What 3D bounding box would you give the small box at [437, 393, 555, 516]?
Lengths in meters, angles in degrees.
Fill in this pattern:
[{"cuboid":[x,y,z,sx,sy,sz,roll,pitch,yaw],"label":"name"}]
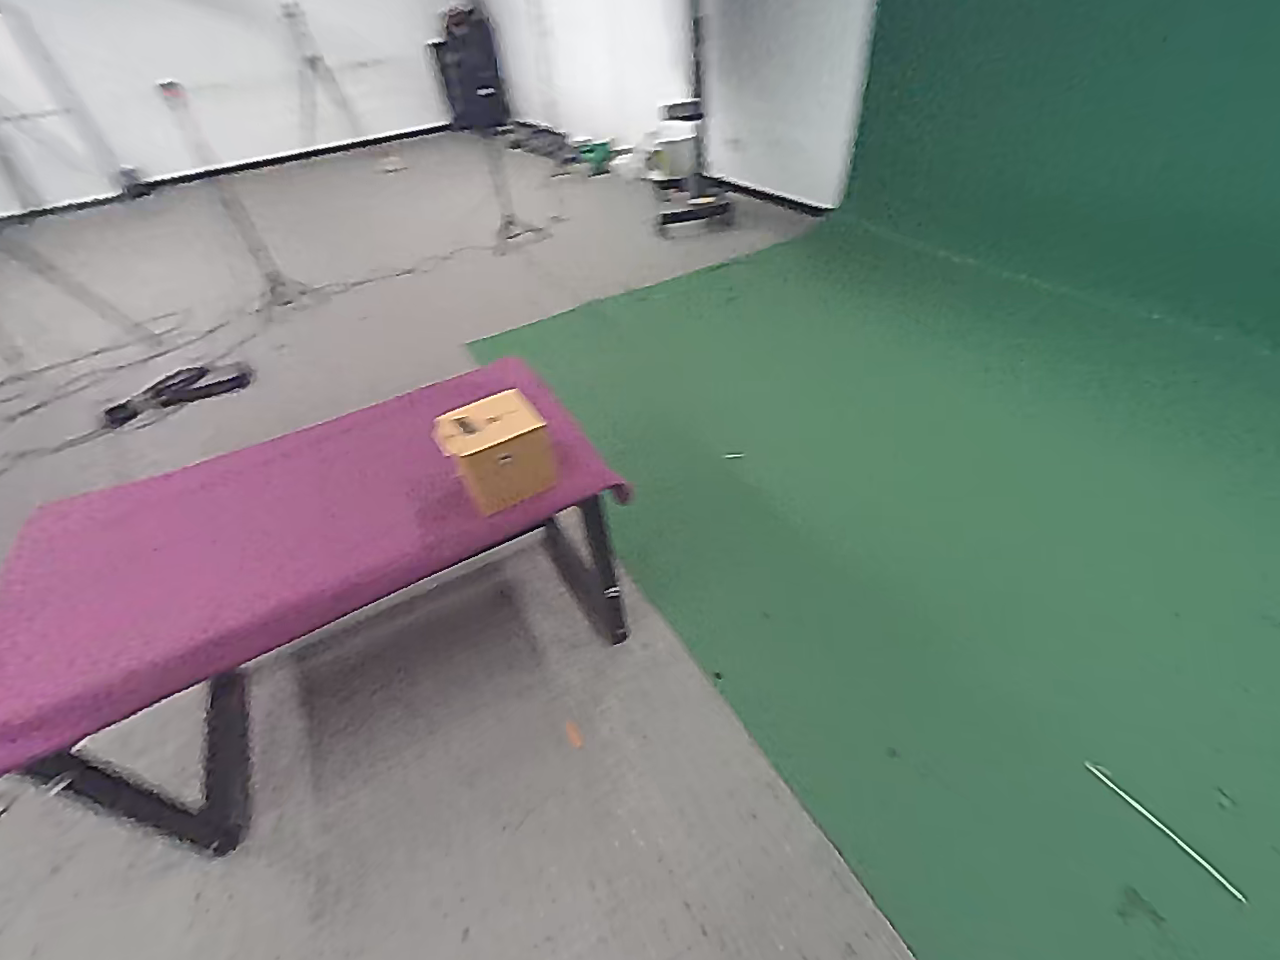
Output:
[{"cuboid":[-0.304,-0.053,1.159,0.179,0.176,0.168,-26,46,-20],"label":"small box"}]
